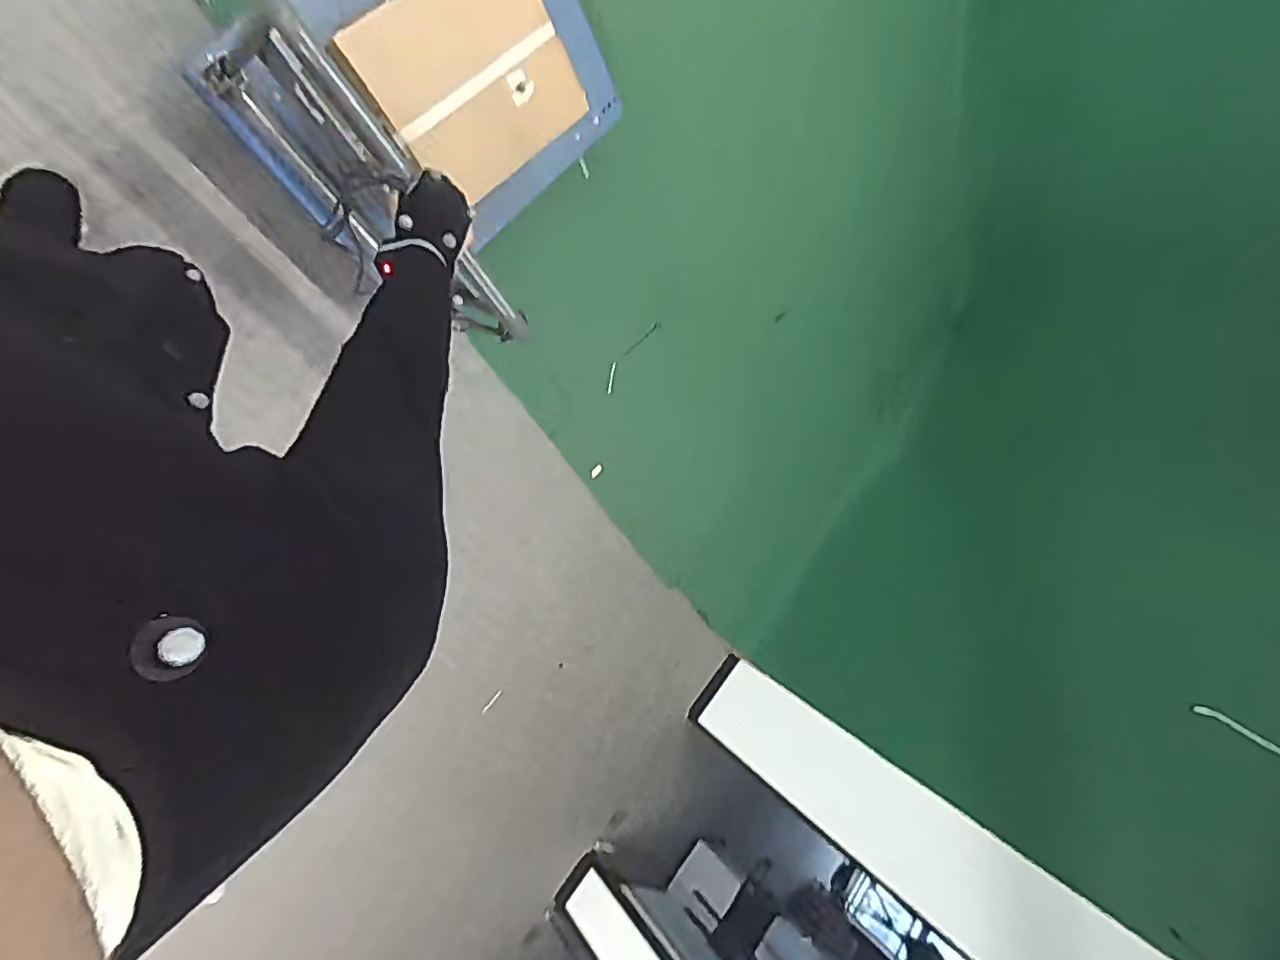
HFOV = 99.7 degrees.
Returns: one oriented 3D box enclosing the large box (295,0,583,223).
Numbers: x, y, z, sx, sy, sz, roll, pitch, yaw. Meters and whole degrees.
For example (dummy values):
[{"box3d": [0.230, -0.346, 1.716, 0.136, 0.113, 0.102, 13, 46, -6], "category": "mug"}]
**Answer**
[{"box3d": [-0.406, -0.793, 1.119, 0.408, 0.320, 0.320, -49, 135, -16], "category": "large box"}]
